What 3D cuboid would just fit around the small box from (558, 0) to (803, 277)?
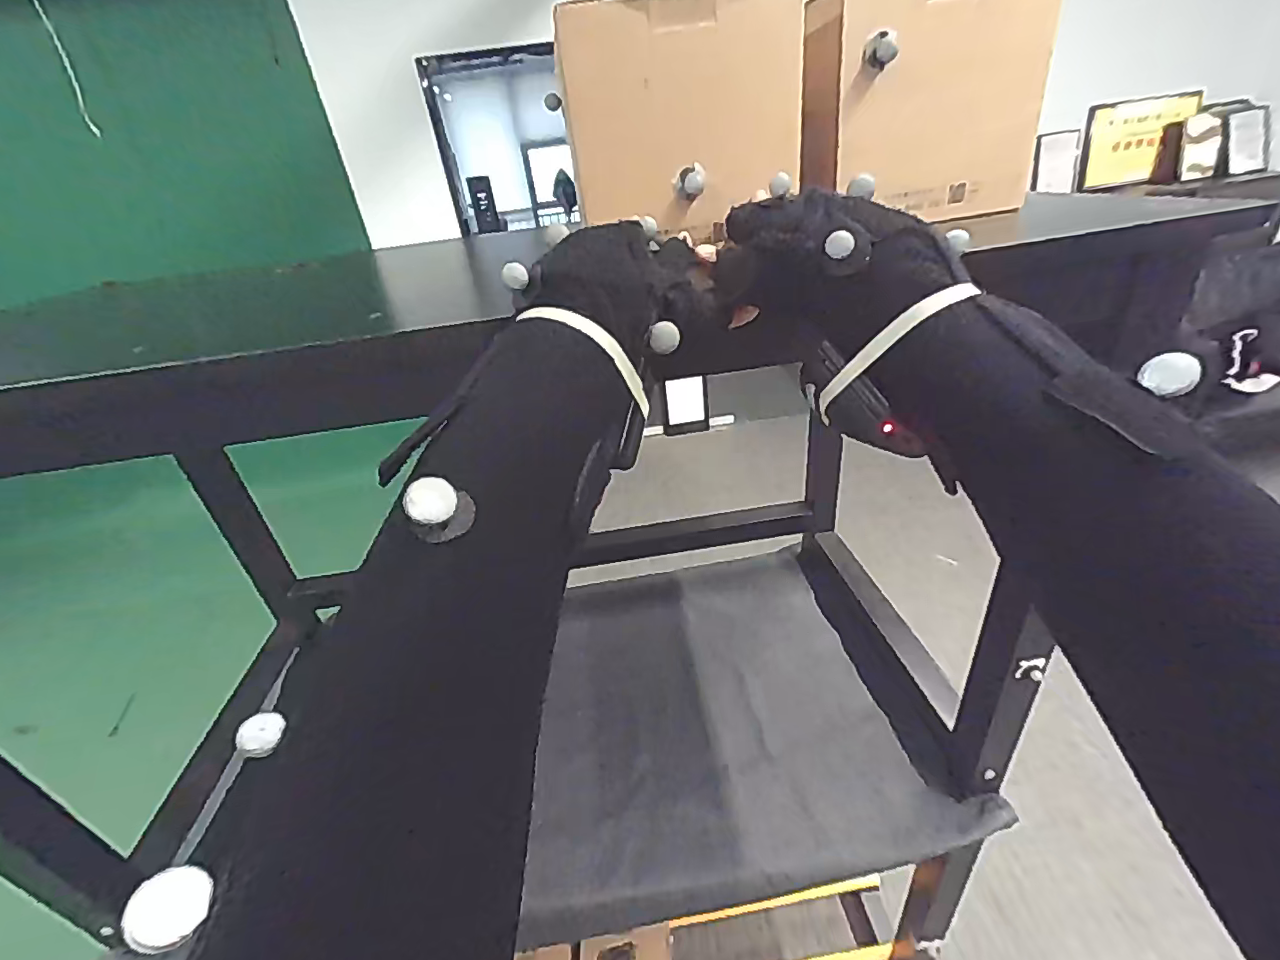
[{"bbox_3d":[0.027,-0.280,0.465,0.168,0.176,0.179,-9,31,-2],"label":"small box"}]
